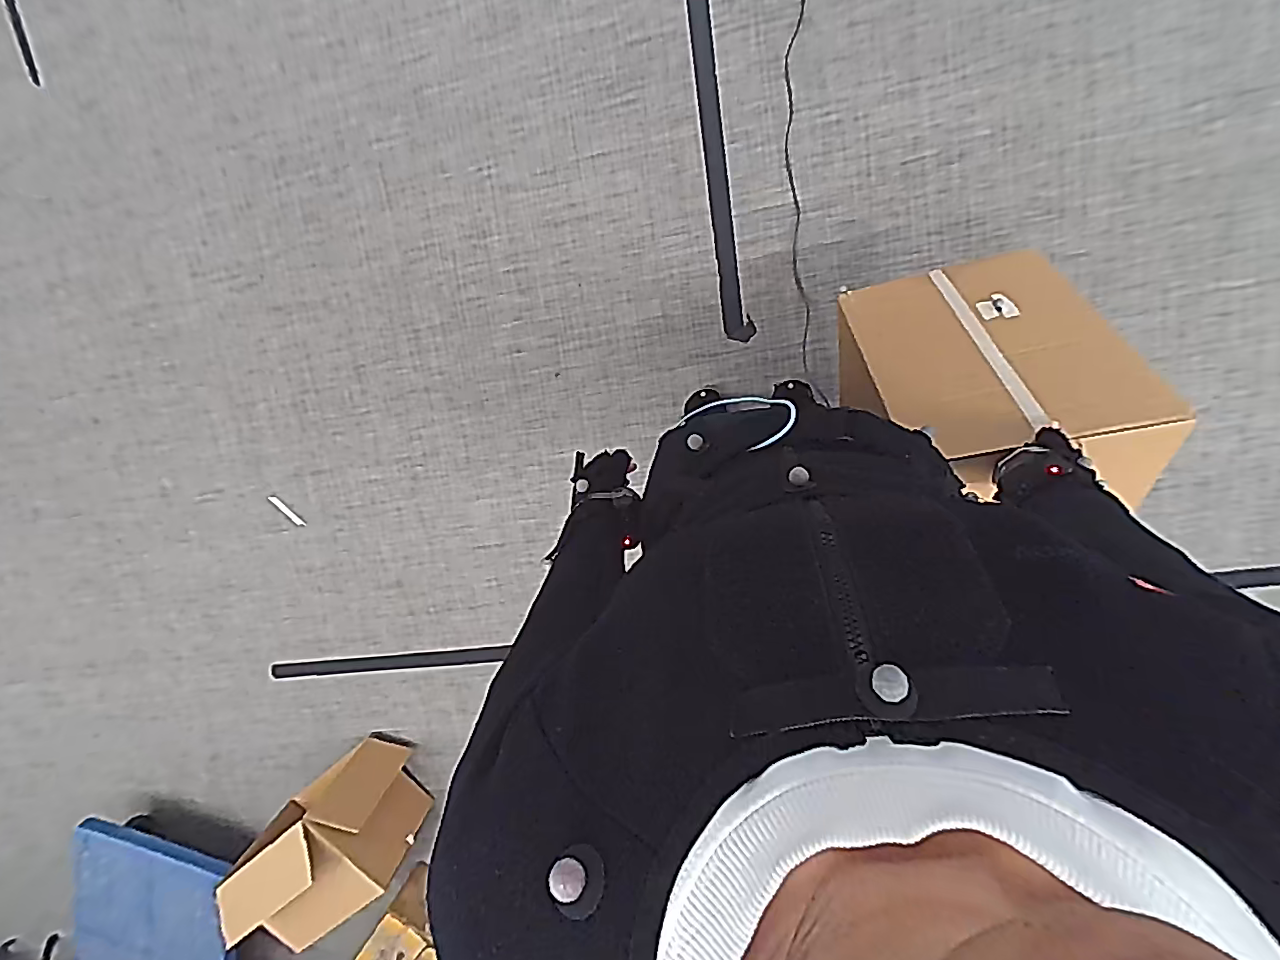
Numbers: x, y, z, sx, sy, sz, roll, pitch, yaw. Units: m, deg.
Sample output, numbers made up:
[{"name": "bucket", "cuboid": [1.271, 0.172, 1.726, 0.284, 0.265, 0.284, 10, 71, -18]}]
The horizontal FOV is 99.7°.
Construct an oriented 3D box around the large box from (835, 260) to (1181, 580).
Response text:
[{"name": "large box", "cuboid": [0.538, -0.097, 0.908, 0.320, 0.408, 0.320, -10, 138, 11]}]
